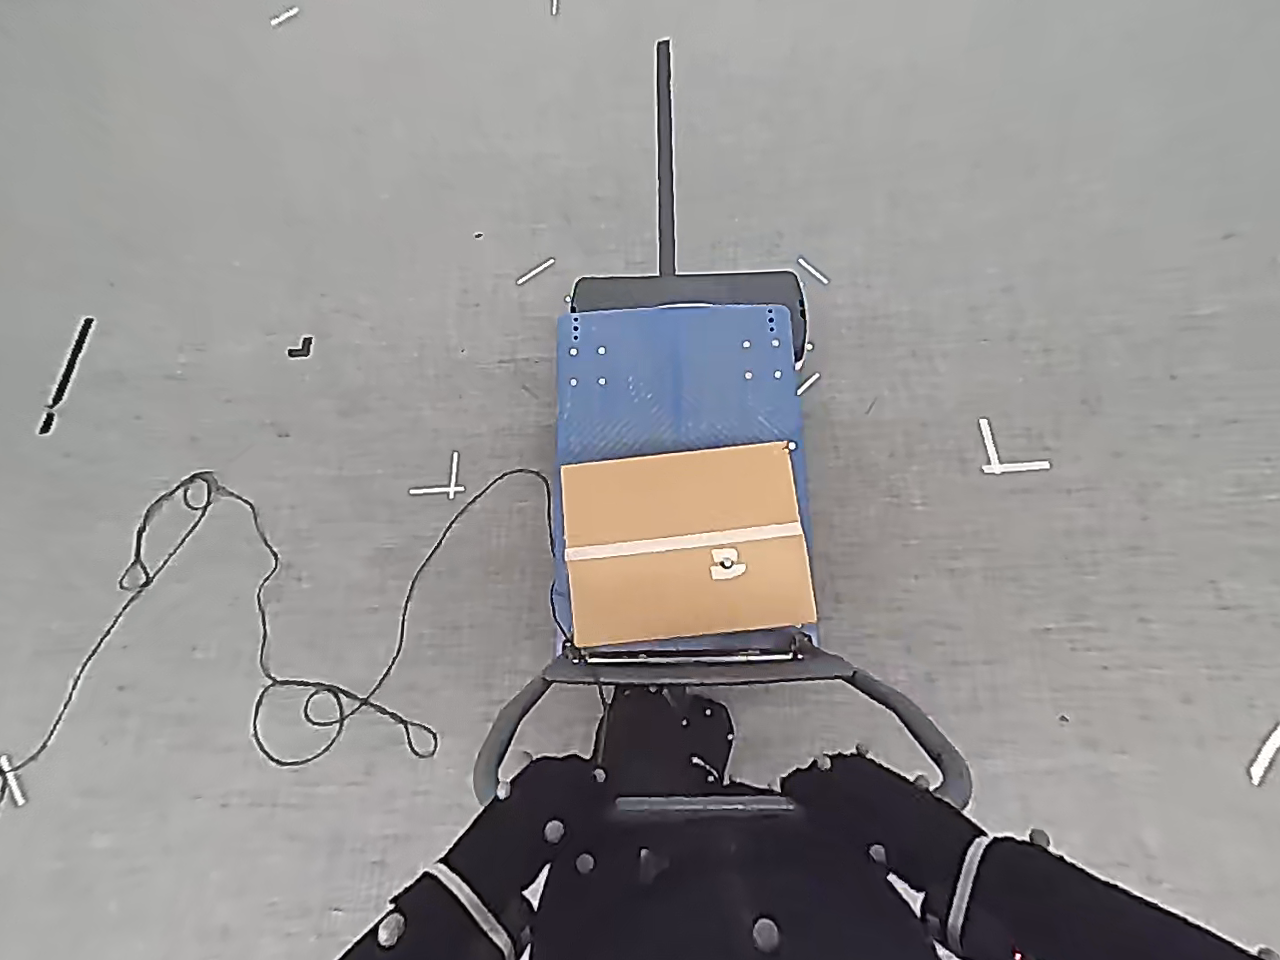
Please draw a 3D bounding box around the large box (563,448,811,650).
[{"bbox_3d":[0.078,0.145,1.087,0.408,0.320,0.320,-7,79,0],"label":"large box"}]
